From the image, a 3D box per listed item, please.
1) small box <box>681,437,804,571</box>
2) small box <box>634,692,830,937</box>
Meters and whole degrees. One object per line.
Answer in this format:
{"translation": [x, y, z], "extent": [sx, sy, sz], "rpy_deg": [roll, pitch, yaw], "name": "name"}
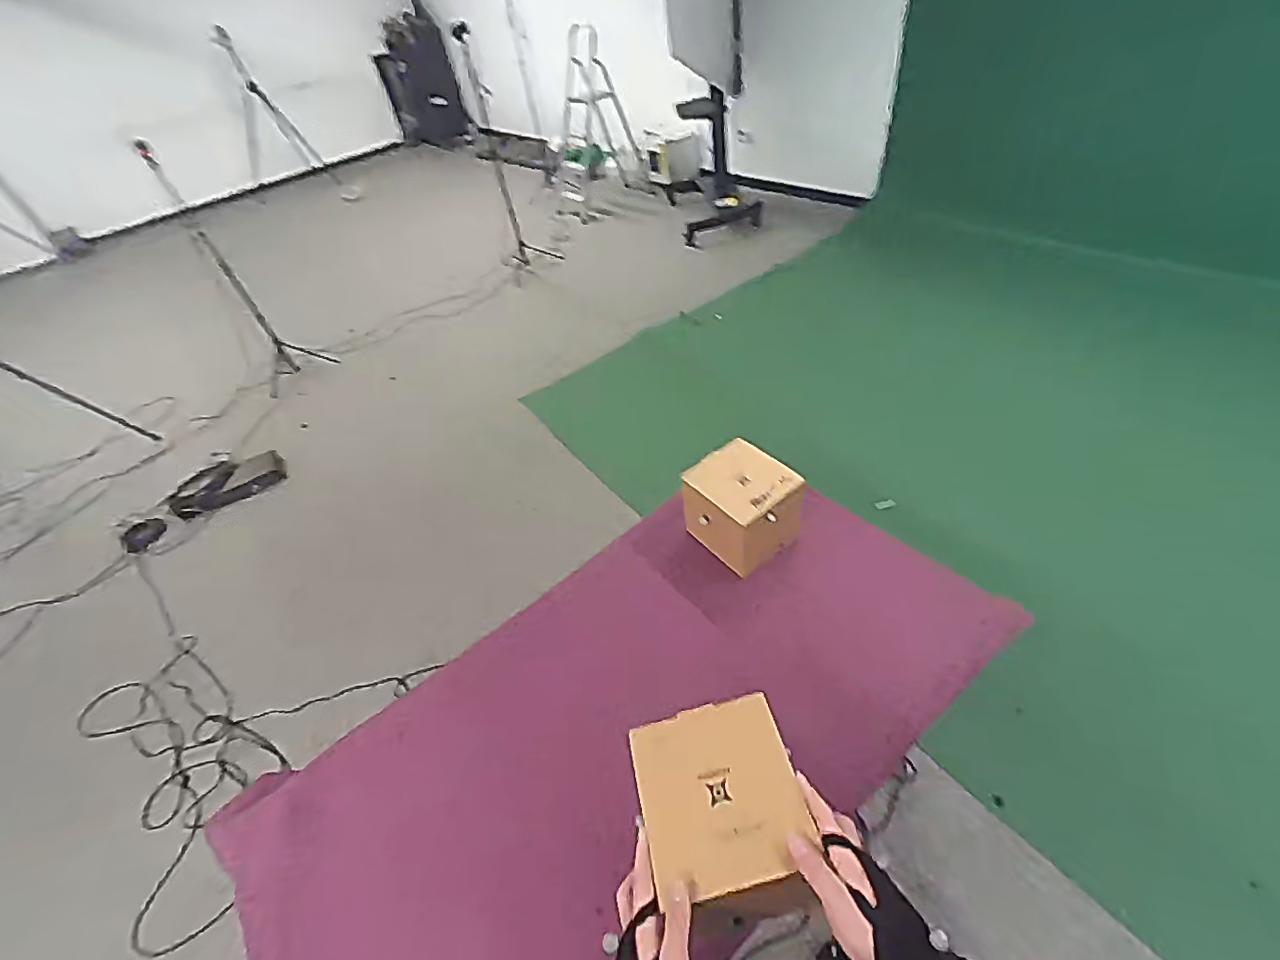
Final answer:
{"translation": [0.205, 0.050, 1.090], "extent": [0.168, 0.176, 0.179], "rpy_deg": [-33, 48, -20], "name": "small box"}
{"translation": [0.098, 0.377, 0.613], "extent": [0.168, 0.176, 0.179], "rpy_deg": [-15, 41, 0], "name": "small box"}
